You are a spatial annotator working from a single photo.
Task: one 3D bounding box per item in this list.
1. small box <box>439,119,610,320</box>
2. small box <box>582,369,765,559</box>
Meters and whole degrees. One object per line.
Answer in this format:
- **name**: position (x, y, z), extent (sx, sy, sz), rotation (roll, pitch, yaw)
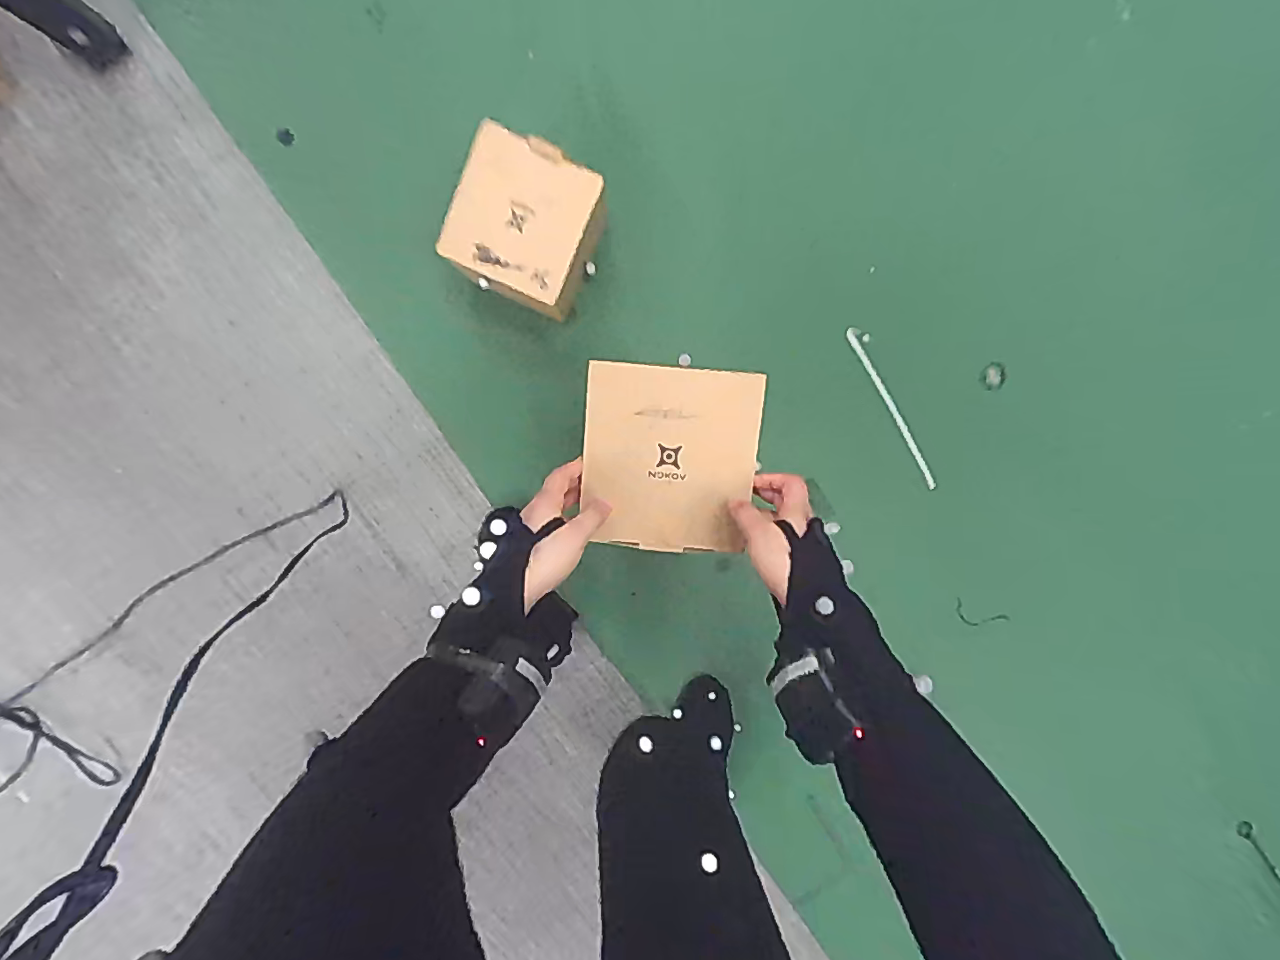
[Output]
- **small box**: position (-0.152, -0.347, 0.761), extent (0.168, 0.176, 0.179), rotation (24, 97, -6)
- **small box**: position (0.032, -0.028, 0.597), extent (0.168, 0.176, 0.179), rotation (4, 101, 0)
